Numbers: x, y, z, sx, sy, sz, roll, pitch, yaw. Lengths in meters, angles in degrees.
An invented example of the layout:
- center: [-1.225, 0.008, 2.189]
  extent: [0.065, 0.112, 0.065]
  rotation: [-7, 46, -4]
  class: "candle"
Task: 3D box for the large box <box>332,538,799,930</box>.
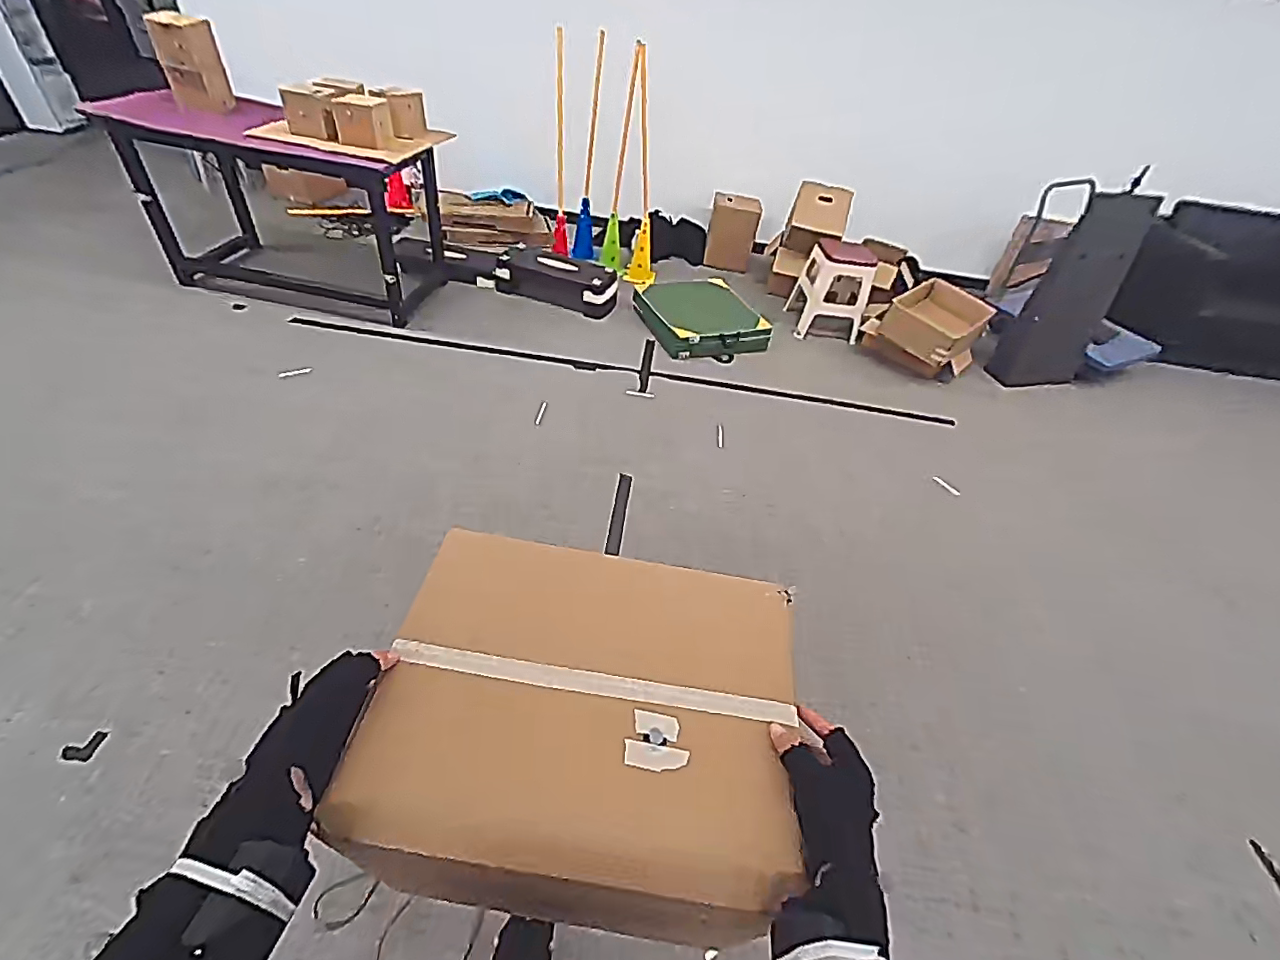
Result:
- center: [-0.065, 0.309, 0.657]
  extent: [0.408, 0.320, 0.320]
  rotation: [10, 46, 0]
  class: "large box"
